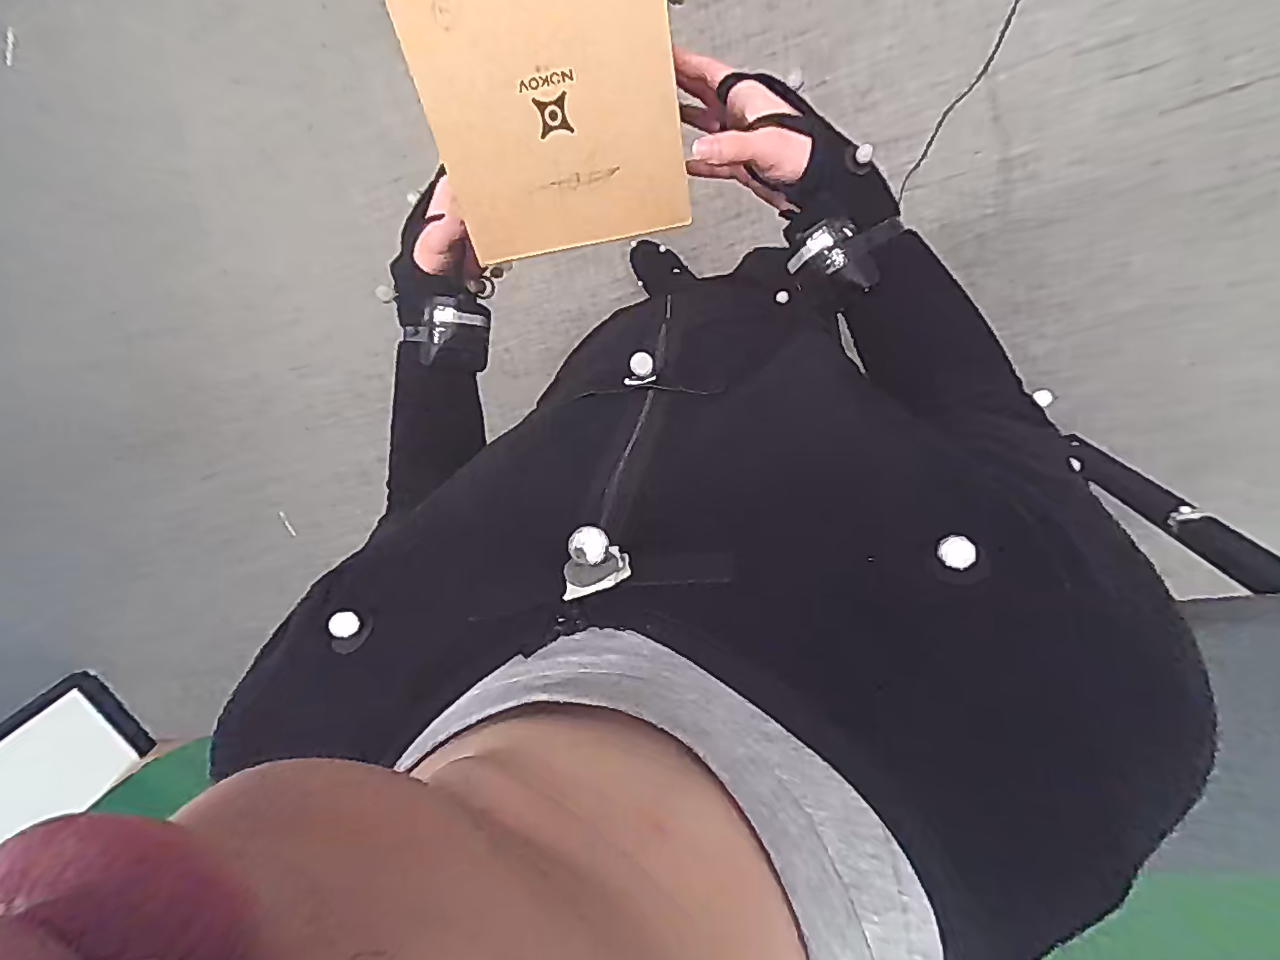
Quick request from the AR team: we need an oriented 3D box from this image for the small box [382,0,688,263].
[{"bbox_3d":[-0.059,-0.291,0.407,0.168,0.176,0.179,-8,131,7],"label":"small box"}]
